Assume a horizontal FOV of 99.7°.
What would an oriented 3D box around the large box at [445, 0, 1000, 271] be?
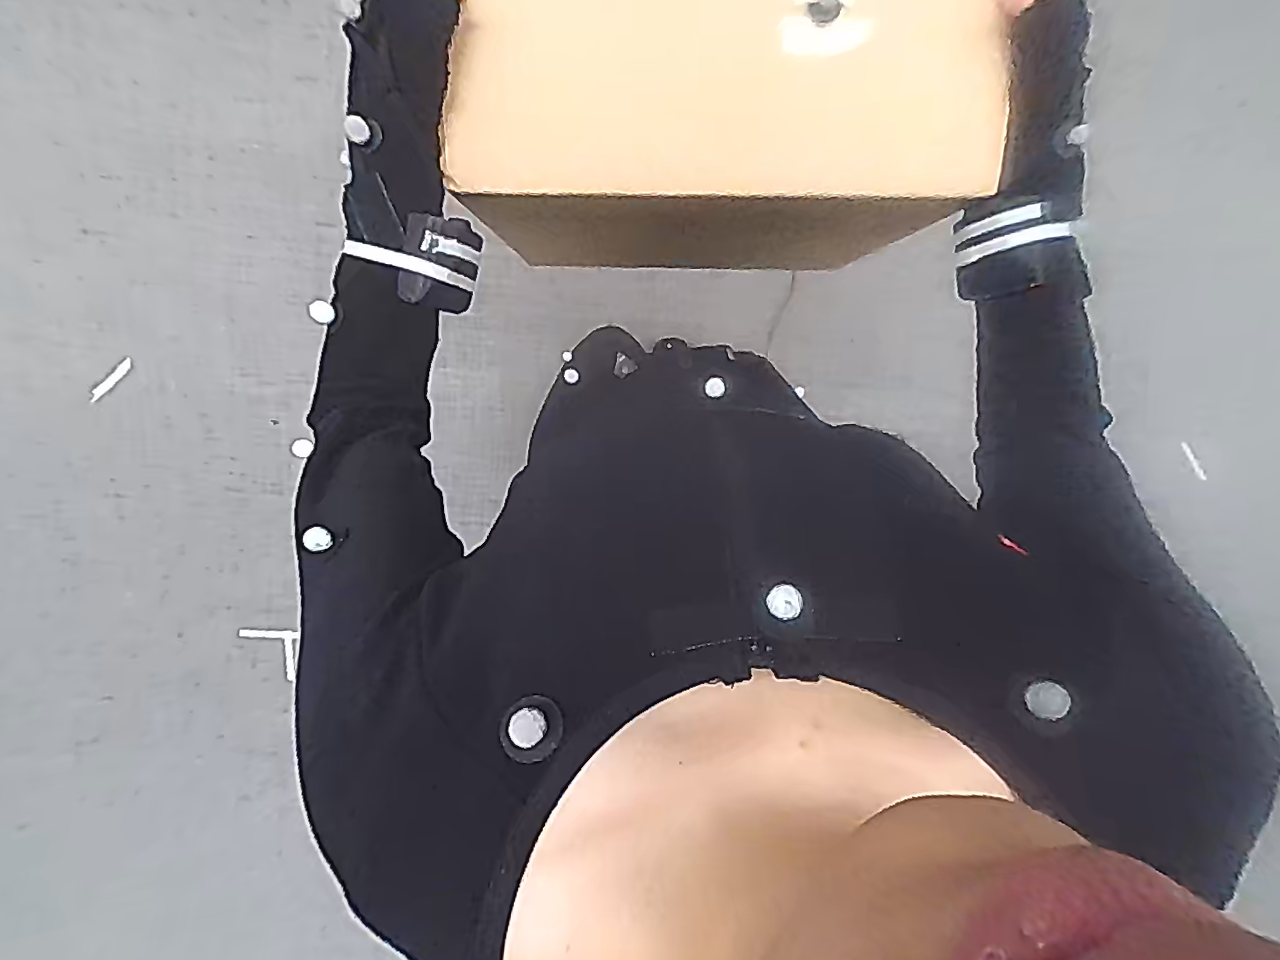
[{"bbox_3d":[0.056,-0.397,0.526,0.408,0.320,0.320,0,101,-1],"label":"large box"}]
